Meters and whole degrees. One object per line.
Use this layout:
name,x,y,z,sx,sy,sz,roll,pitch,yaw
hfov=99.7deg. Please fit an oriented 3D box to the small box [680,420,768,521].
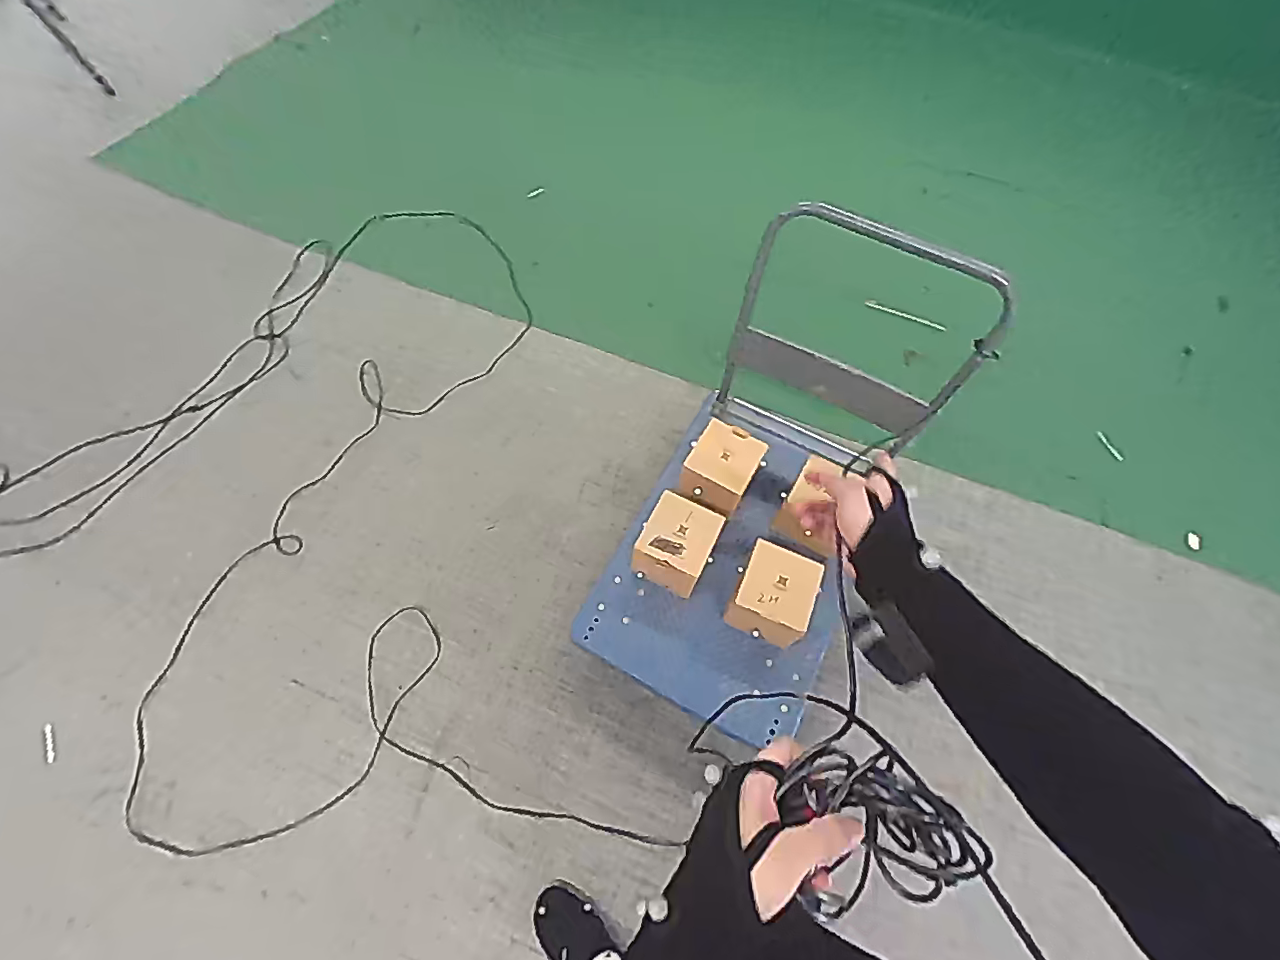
small box,0.217,-0.019,1.444,0.168,0.176,0.179,28,63,11

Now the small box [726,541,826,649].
small box,0.316,0.278,1.290,0.168,0.176,0.179,23,63,9

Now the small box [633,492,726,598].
small box,0.092,0.166,1.336,0.168,0.176,0.179,26,63,9
